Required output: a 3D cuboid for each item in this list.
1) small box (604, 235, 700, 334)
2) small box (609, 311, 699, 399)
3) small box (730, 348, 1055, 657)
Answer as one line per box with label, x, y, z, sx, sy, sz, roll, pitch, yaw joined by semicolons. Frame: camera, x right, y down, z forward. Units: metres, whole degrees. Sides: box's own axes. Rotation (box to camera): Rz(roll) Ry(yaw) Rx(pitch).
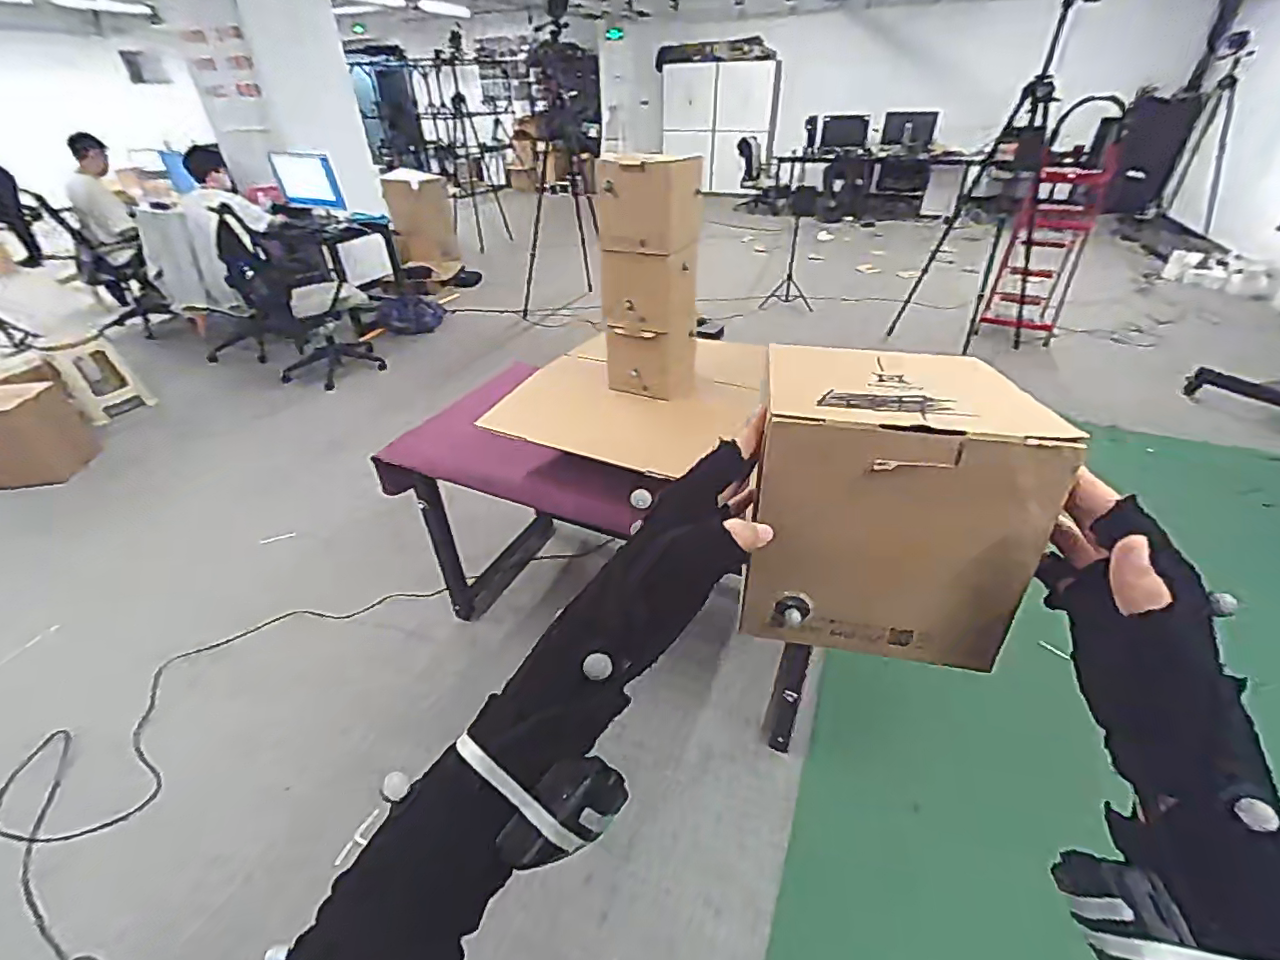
small box;0.029;-0.451;1.241;0.168;0.176;0.179;14;38;21
small box;0.036;-0.320;1.338;0.168;0.176;0.179;15;38;23
small box;0.160;0.007;0.409;0.168;0.176;0.179;6;28;10
